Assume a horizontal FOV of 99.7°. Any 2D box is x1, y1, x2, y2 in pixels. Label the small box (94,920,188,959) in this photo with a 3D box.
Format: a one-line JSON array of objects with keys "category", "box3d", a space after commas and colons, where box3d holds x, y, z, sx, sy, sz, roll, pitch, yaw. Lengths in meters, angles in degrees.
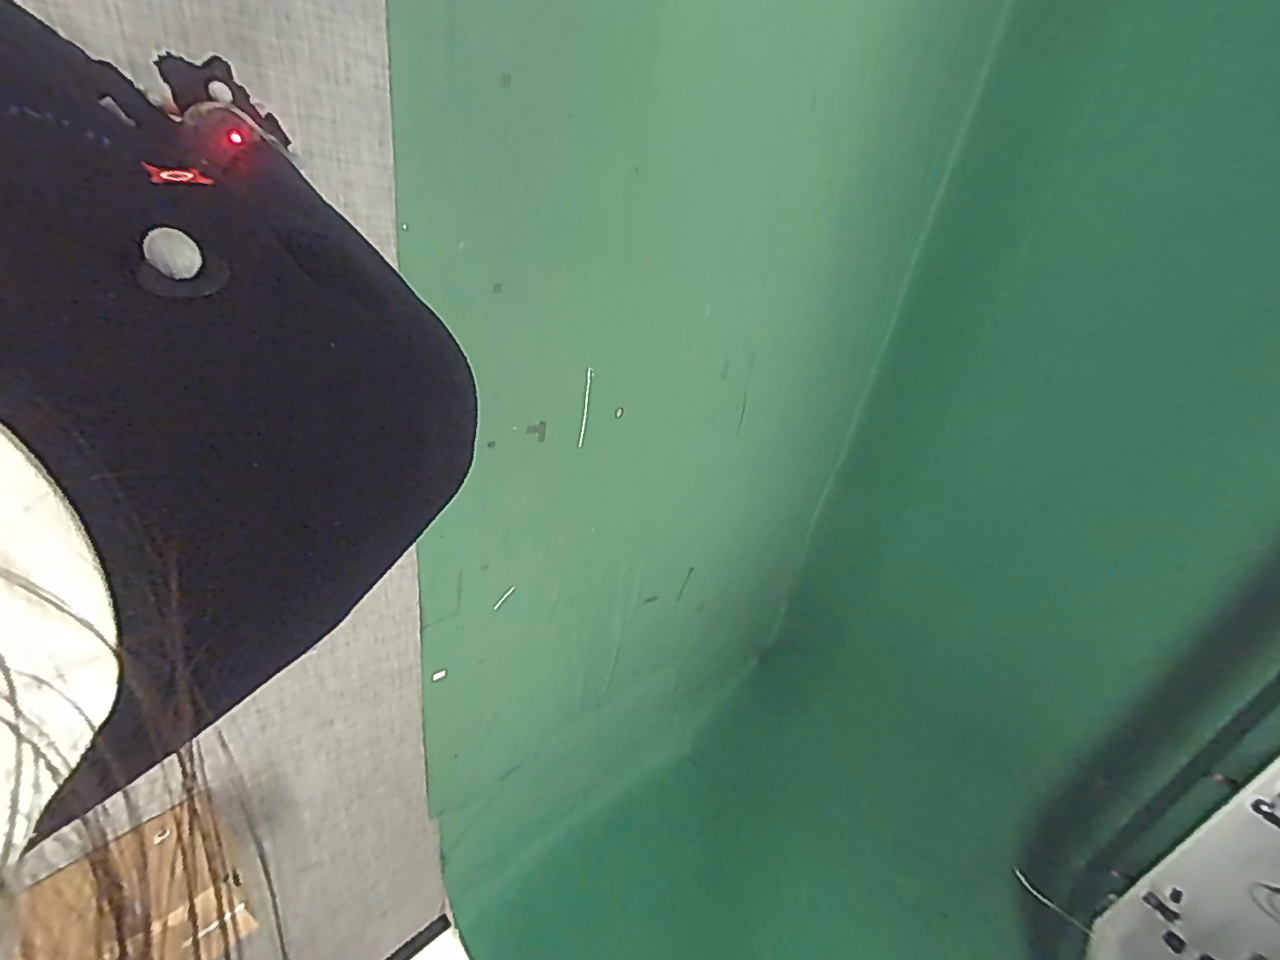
[{"category": "small box", "box3d": [-1.236, 1.247, 1.328, 0.179, 0.176, 0.168, -21, 129, -38]}]
